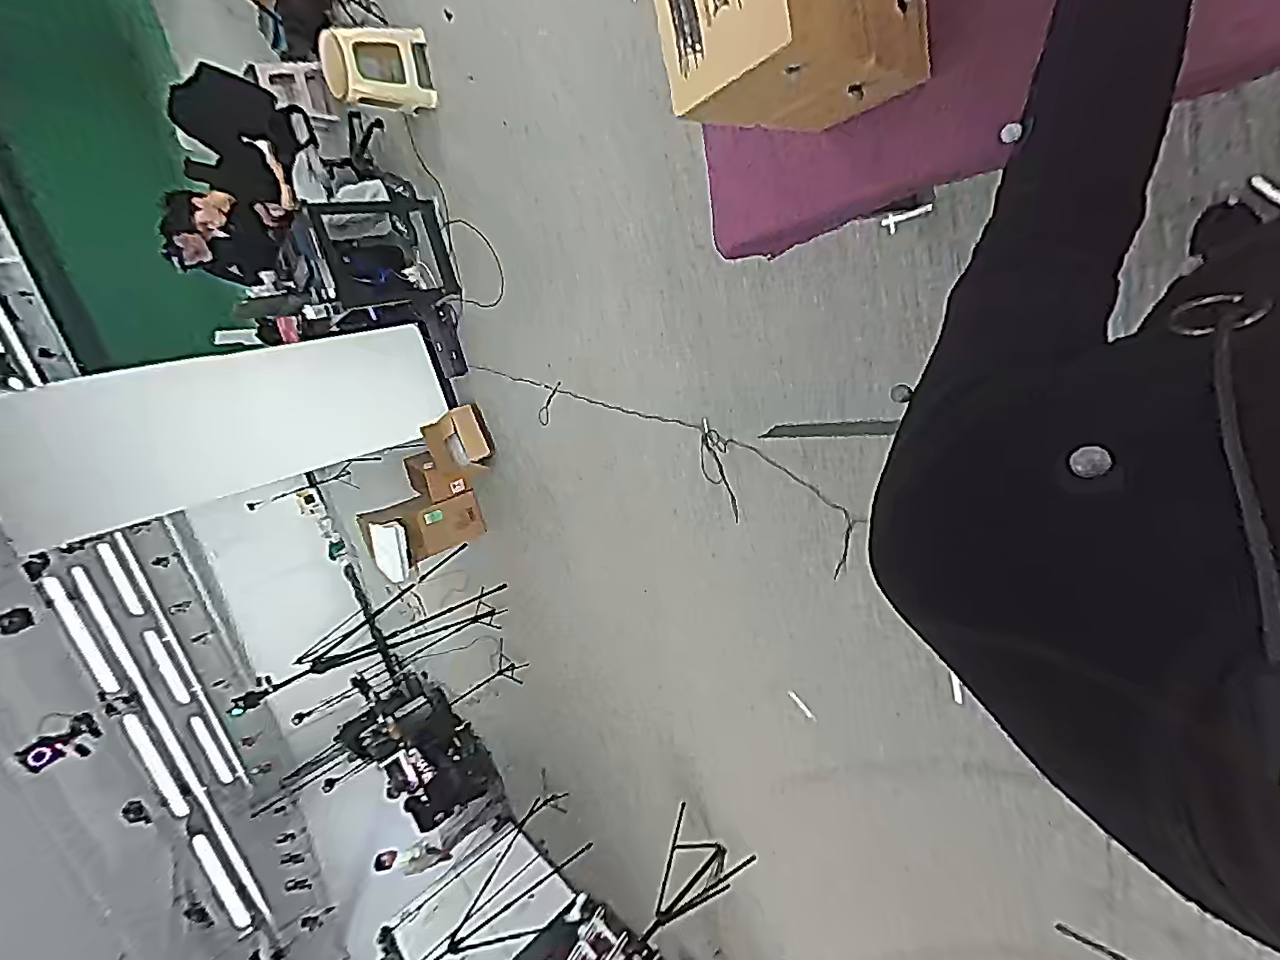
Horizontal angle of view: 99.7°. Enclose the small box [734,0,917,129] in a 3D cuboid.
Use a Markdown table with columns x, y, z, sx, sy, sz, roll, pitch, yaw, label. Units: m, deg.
| x | y | z | sx | sy | sz | roll | pitch | yaw | label |
| --- | --- | --- | --- | --- | --- | --- | --- | --- | --- |
| 0.259 | -0.605 | 0.737 | 0.179 | 0.176 | 0.168 | 6 | 115 | 49 | small box |
